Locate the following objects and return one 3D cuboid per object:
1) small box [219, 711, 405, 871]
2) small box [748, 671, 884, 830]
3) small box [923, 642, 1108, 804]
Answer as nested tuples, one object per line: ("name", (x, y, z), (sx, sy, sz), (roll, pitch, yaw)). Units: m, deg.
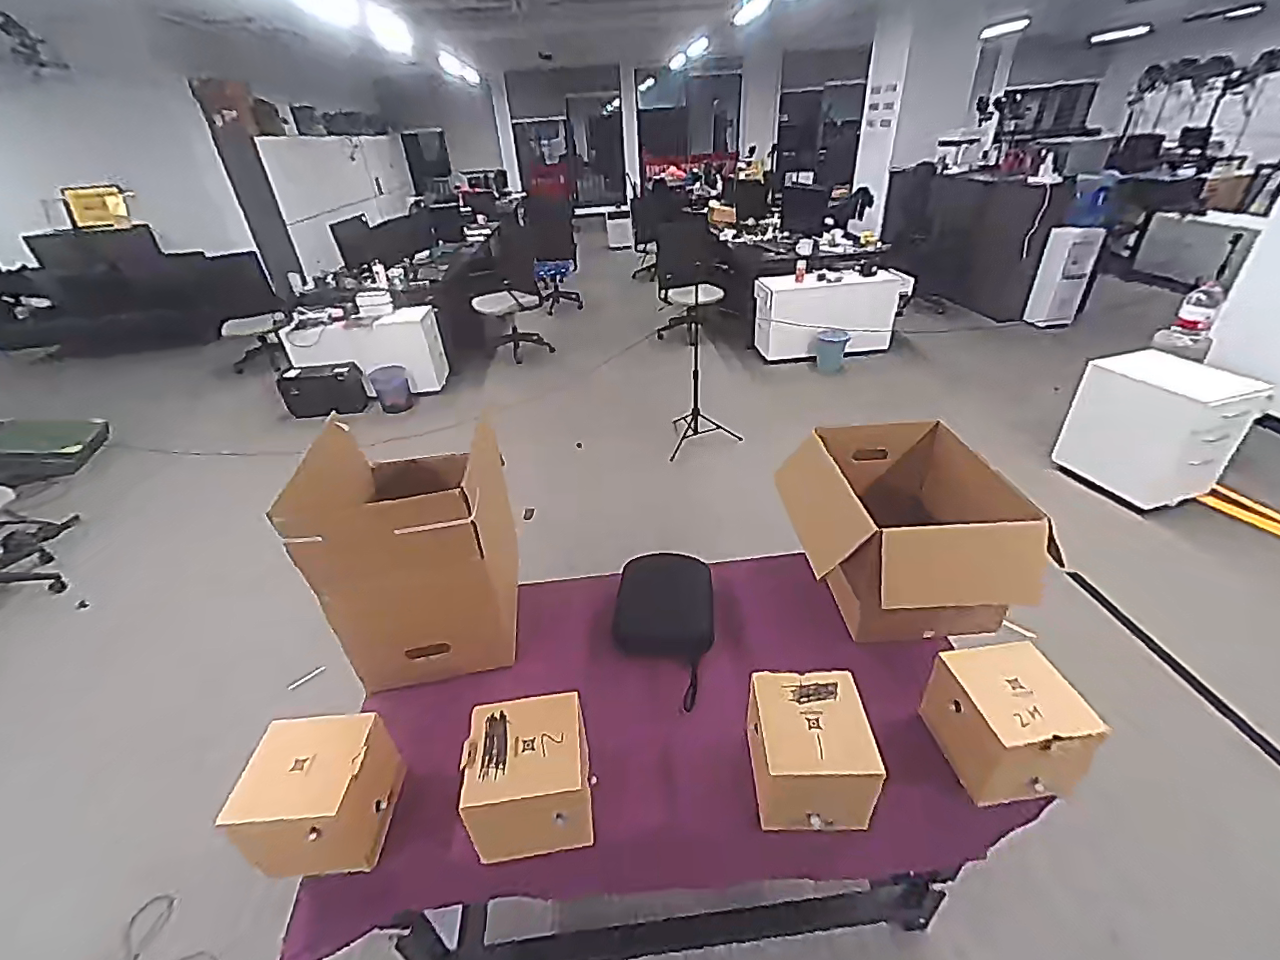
("small box", (-0.509, 0.501, 0.872), (0.179, 0.176, 0.168), (-4, 33, -1))
("small box", (0.273, 0.438, 0.883), (0.168, 0.176, 0.179), (-2, 34, 3))
("small box", (0.603, 0.400, 0.900), (0.168, 0.176, 0.179), (-7, 33, -2))
